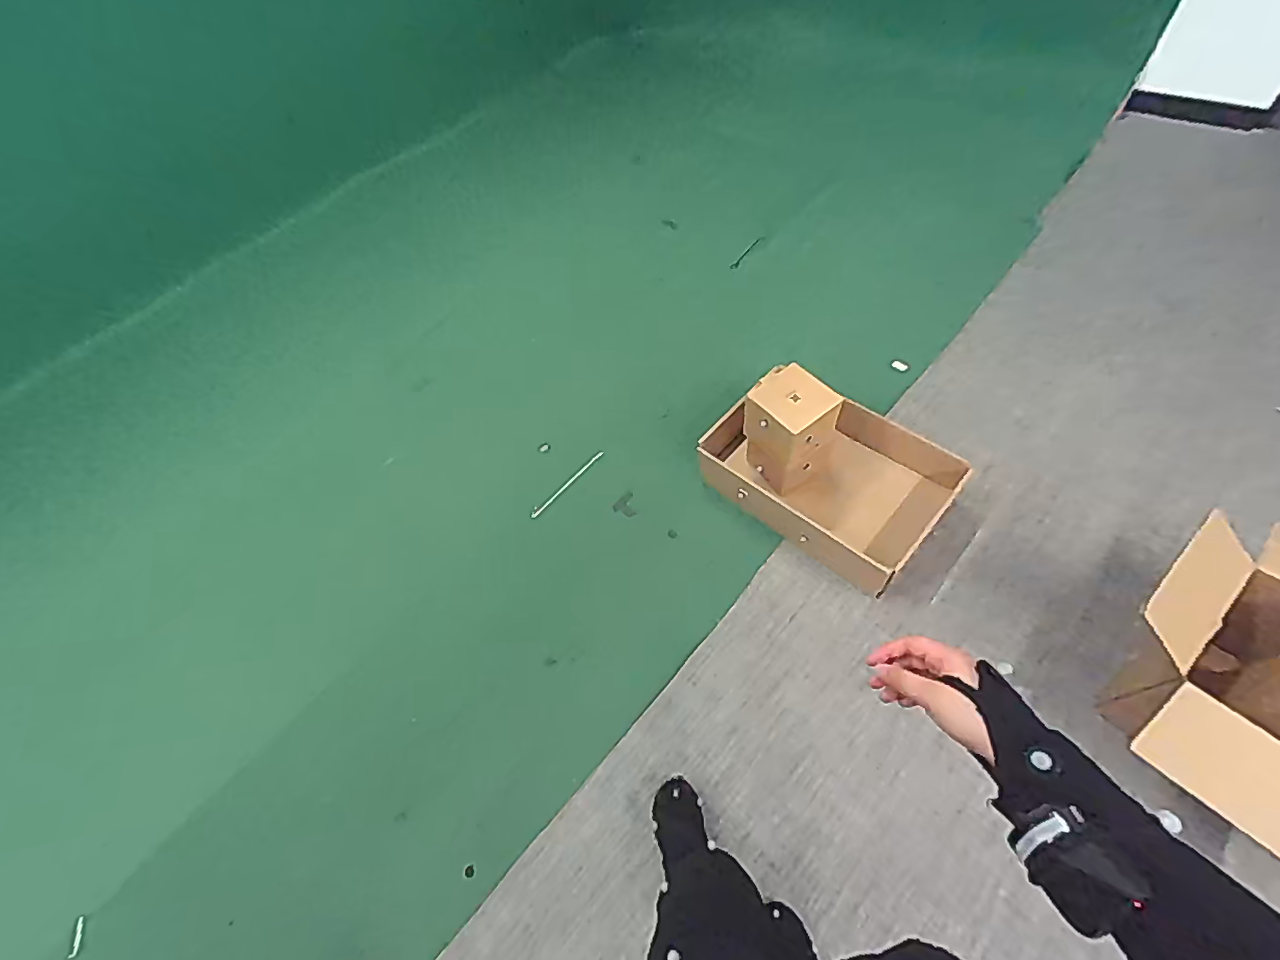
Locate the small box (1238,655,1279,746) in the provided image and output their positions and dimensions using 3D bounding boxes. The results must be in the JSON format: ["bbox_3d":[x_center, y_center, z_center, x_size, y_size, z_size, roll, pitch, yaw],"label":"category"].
[{"bbox_3d":[1.227,0.406,0.942,0.179,0.176,0.168,-36,63,-13],"label":"small box"}]

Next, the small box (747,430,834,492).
[{"bbox_3d":[0.425,-0.099,1.560,0.179,0.176,0.168,-31,59,-11],"label":"small box"}]

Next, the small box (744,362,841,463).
[{"bbox_3d":[0.392,-0.168,1.415,0.168,0.176,0.179,-35,60,-13],"label":"small box"}]
